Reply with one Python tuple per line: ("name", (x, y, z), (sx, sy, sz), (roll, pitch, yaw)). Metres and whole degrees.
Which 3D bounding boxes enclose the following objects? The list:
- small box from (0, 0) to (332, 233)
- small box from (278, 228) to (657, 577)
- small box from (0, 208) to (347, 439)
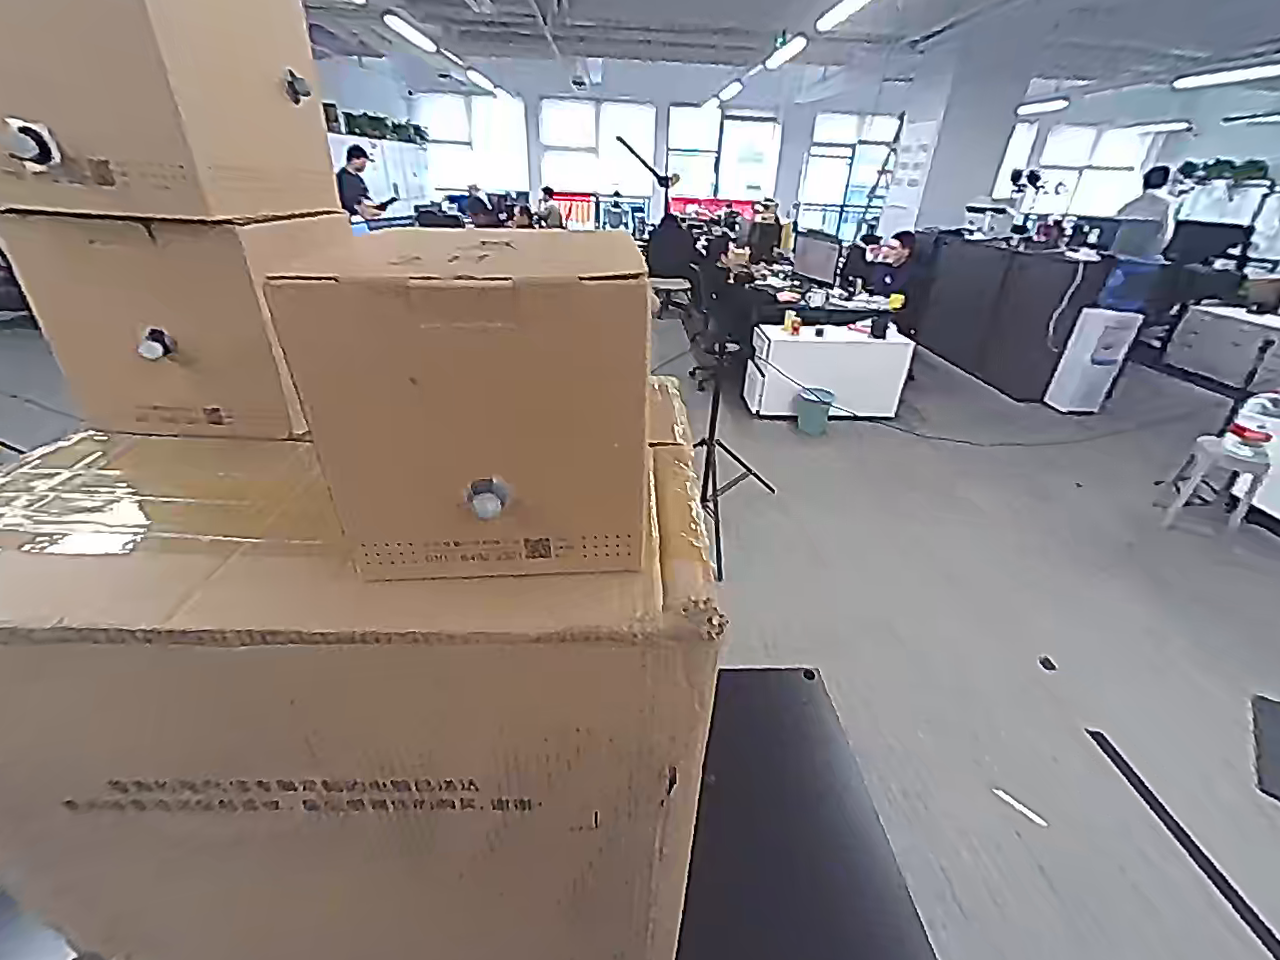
("small box", (-0.350, -0.280, 0.386), (0.168, 0.176, 0.179), (2, 30, -1))
("small box", (-0.080, -0.058, 0.344), (0.168, 0.176, 0.179), (-2, 31, -4))
("small box", (-0.361, -0.145, 0.480), (0.168, 0.176, 0.179), (2, 30, -3))
